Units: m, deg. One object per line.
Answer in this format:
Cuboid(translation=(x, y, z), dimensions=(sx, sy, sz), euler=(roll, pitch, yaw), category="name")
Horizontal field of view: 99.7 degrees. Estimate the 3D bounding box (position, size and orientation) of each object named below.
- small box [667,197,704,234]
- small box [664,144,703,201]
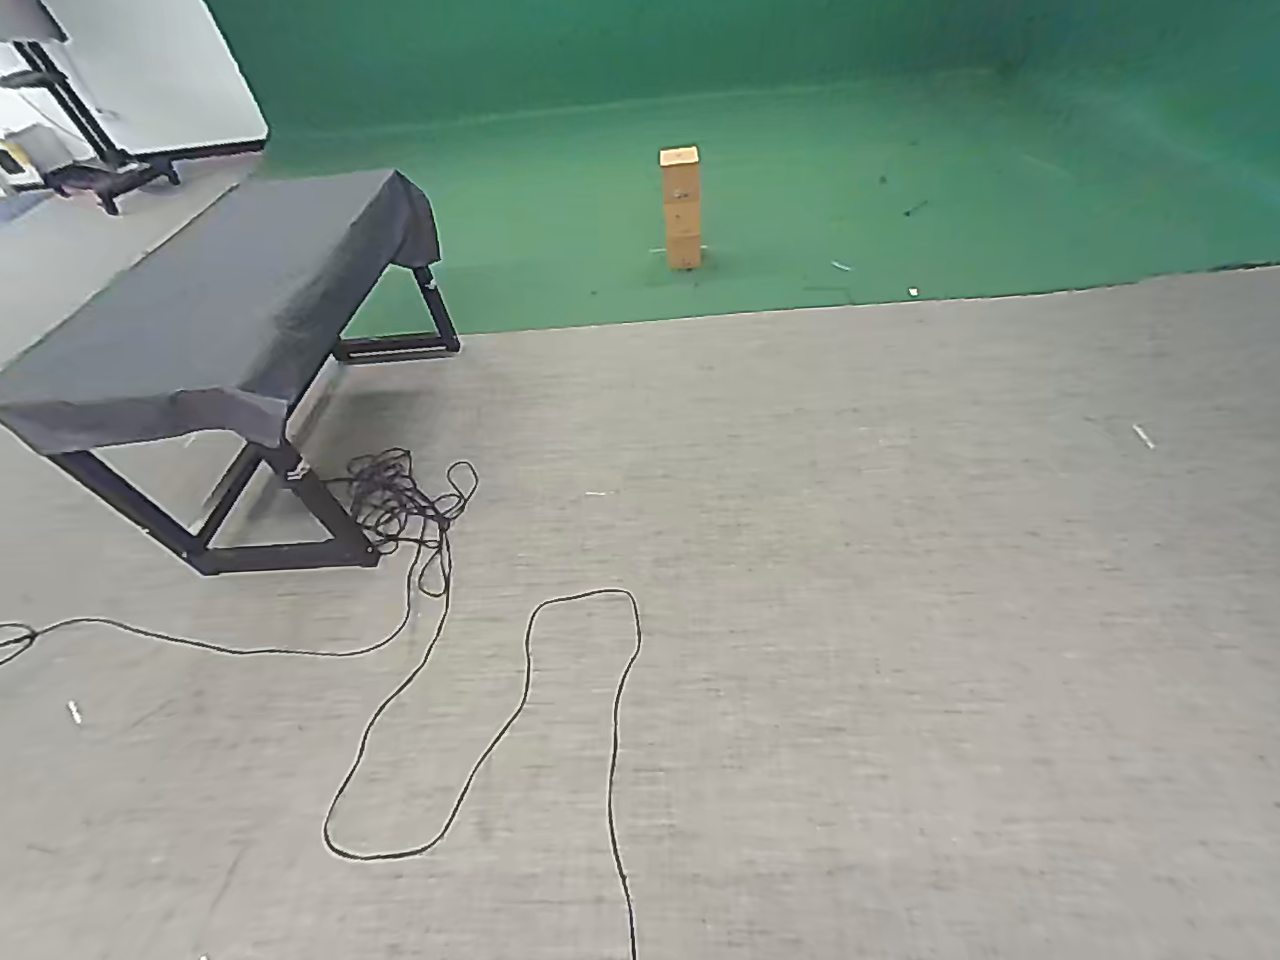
Cuboid(translation=(0.216, -1.286, 2.565), dimensions=(0.168, 0.176, 0.179), euler=(-2, 49, 6), category="small box")
Cuboid(translation=(0.195, -1.387, 2.439), dimensions=(0.168, 0.176, 0.179), euler=(-4, 50, 6), category="small box")
